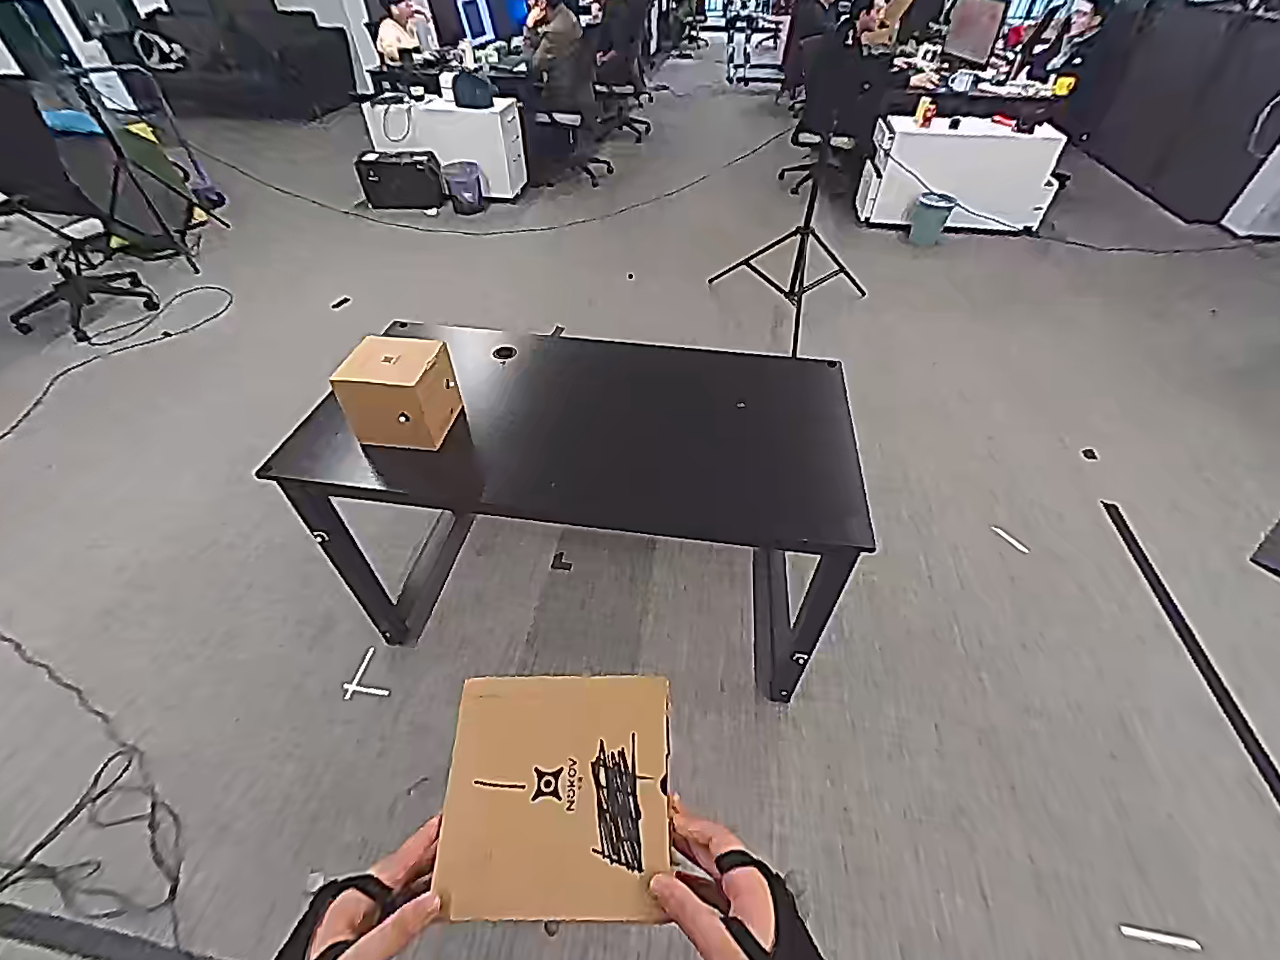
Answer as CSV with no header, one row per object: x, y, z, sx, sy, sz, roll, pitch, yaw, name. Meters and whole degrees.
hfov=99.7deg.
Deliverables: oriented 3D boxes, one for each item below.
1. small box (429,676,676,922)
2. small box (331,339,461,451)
-0.060,0.281,0.489,0.179,0.176,0.168,-1,57,2,small box
-0.500,-0.177,1.141,0.179,0.176,0.168,4,45,5,small box
